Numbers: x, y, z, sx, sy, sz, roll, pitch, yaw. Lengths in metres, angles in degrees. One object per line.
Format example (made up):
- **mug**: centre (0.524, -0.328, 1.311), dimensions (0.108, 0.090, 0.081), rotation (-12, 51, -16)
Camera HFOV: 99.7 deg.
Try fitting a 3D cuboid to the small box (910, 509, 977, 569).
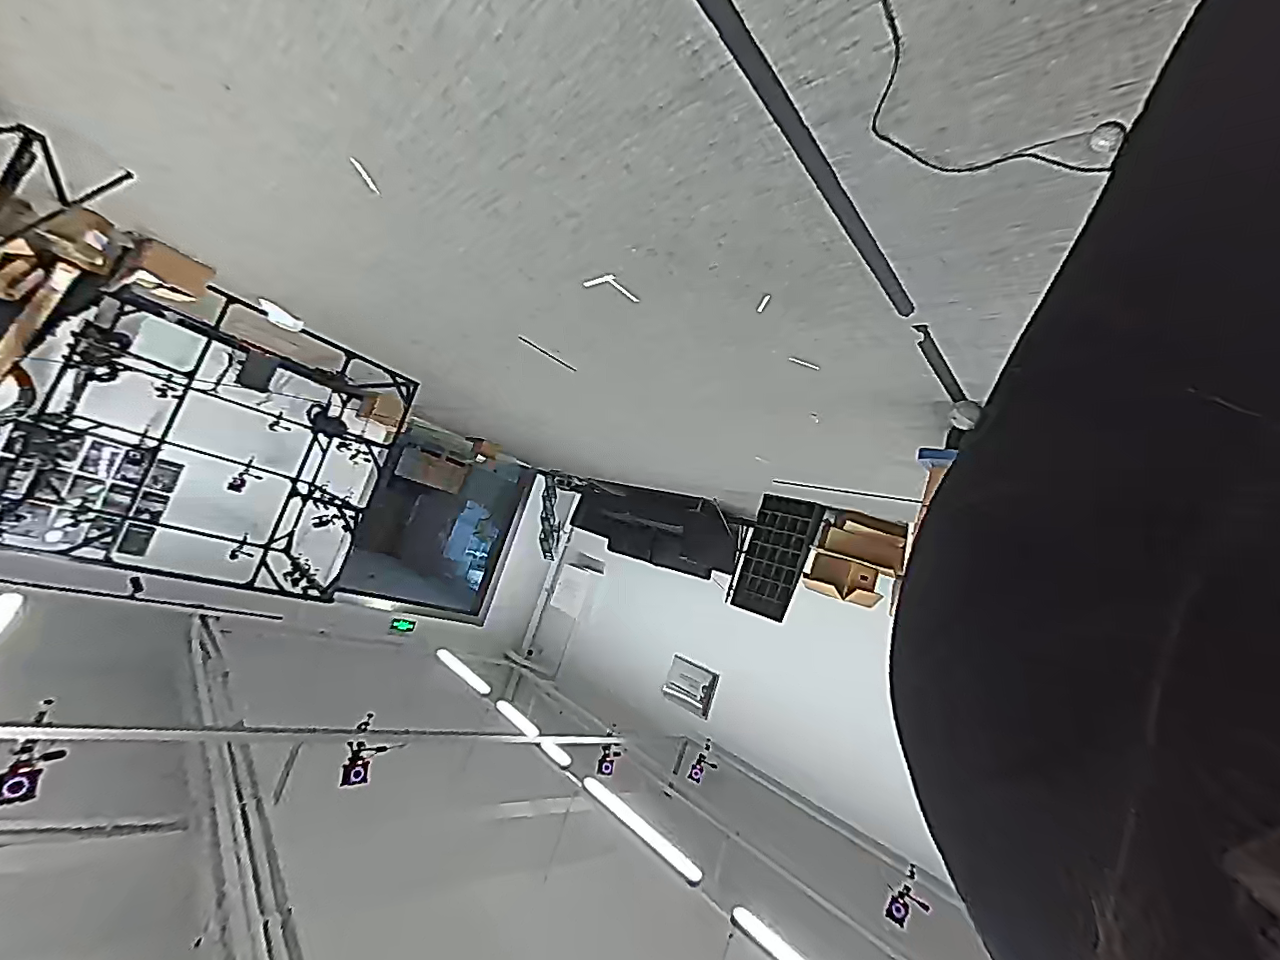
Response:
- **small box**: centre (1.123, 0.213, 1.990), dimensions (0.179, 0.176, 0.168), rotation (13, 171, 42)
